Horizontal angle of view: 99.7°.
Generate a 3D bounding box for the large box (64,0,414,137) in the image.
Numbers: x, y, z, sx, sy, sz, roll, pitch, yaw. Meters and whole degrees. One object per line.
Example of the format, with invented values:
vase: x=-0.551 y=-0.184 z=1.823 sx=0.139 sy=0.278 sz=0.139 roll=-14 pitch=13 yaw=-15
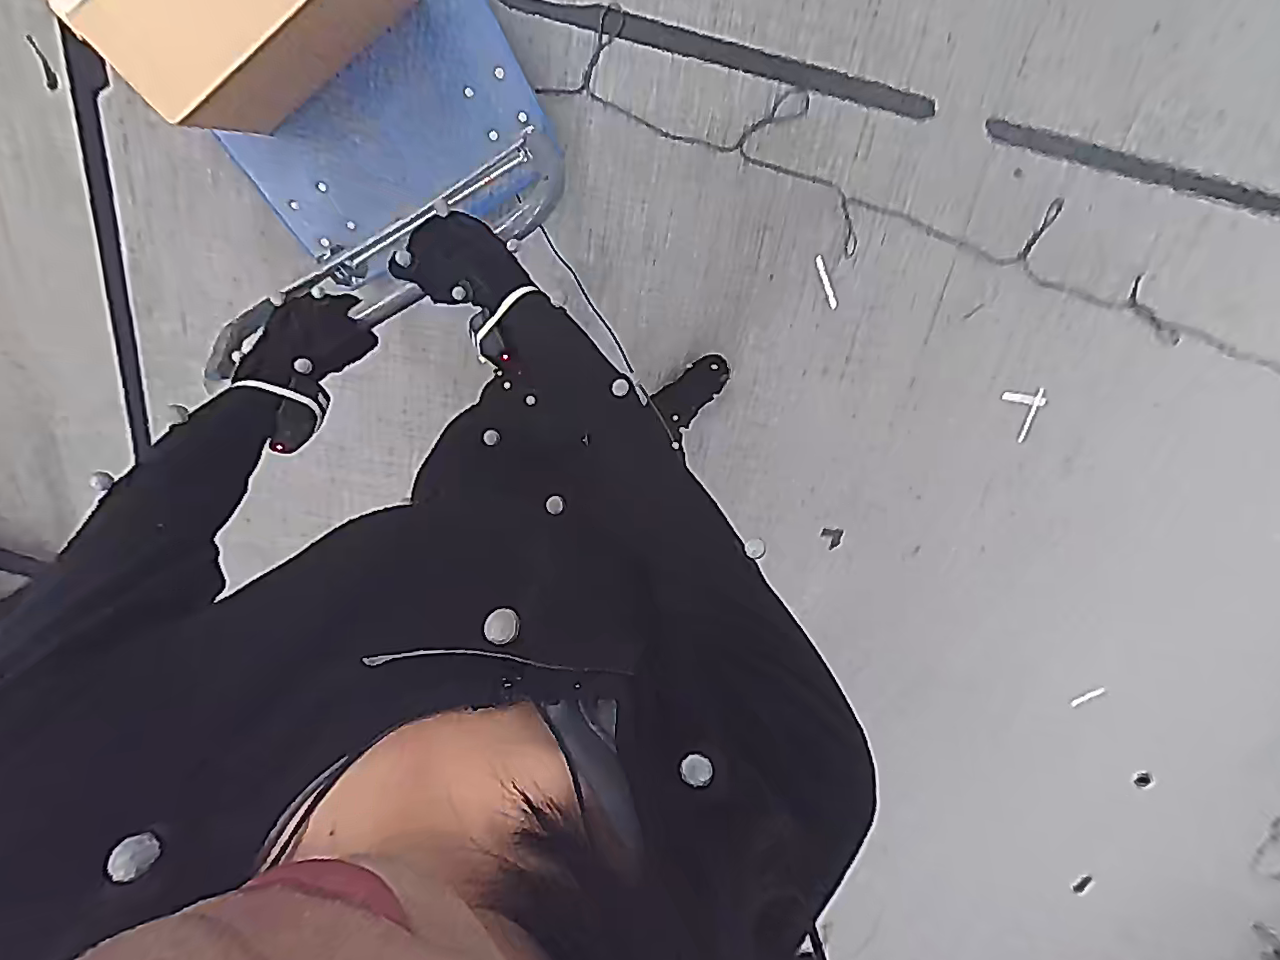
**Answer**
large box: x=-0.613 y=-0.801 z=0.810 sx=0.408 sy=0.320 sz=0.320 roll=-34 pitch=120 yaw=9
